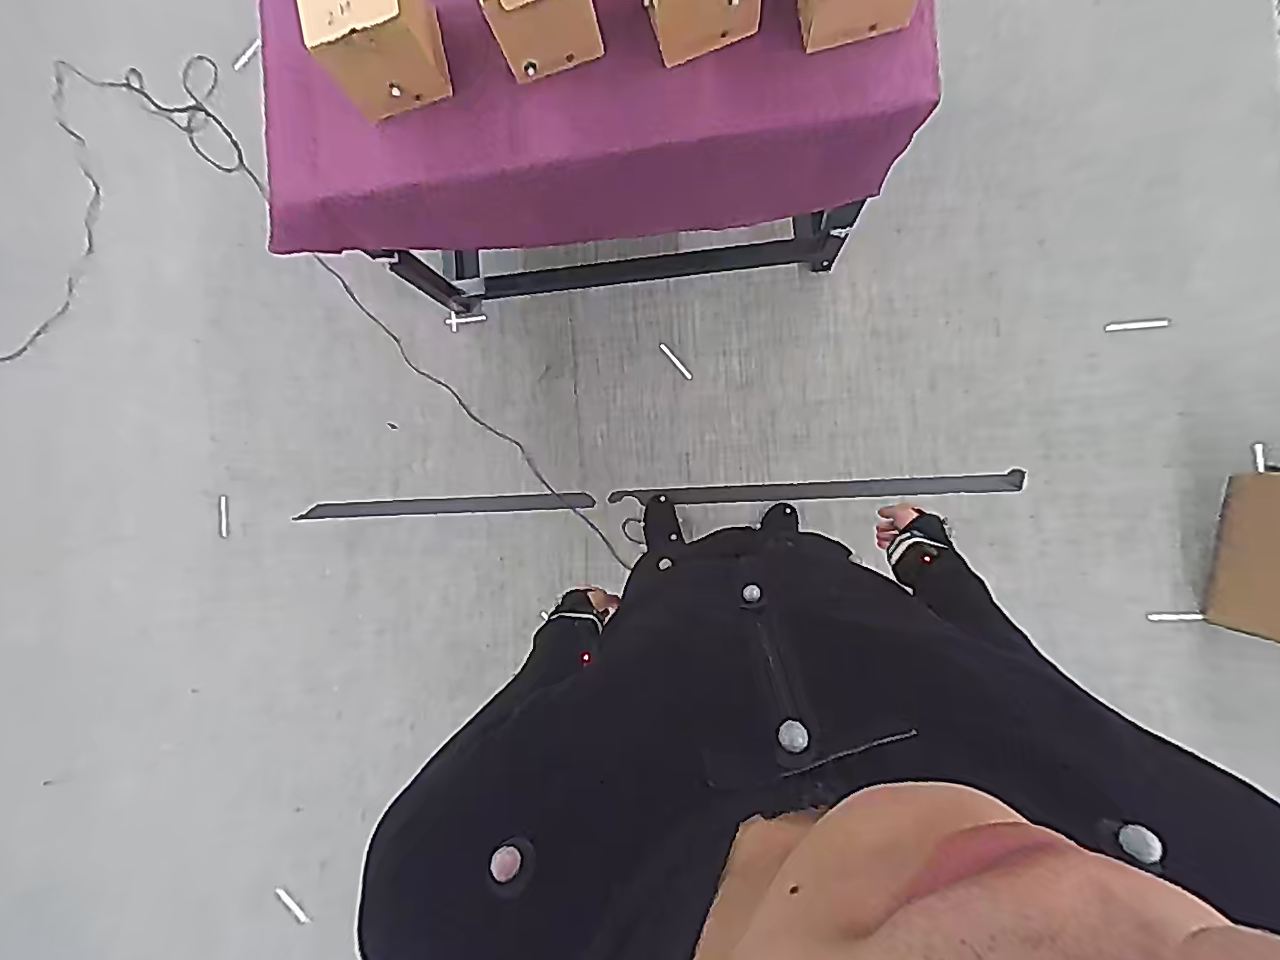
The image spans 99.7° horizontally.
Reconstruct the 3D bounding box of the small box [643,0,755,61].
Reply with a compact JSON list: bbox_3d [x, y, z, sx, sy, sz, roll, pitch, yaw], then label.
[{"bbox_3d":[0.086,-0.819,0.860,0.168,0.176,0.179,-16,86,7],"label":"small box"}]

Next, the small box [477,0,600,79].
[{"bbox_3d":[-0.174,-0.813,0.894,0.168,0.176,0.179,-14,86,7],"label":"small box"}]

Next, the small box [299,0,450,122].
[{"bbox_3d":[-0.452,-0.770,0.930,0.168,0.176,0.179,-12,87,8],"label":"small box"}]
